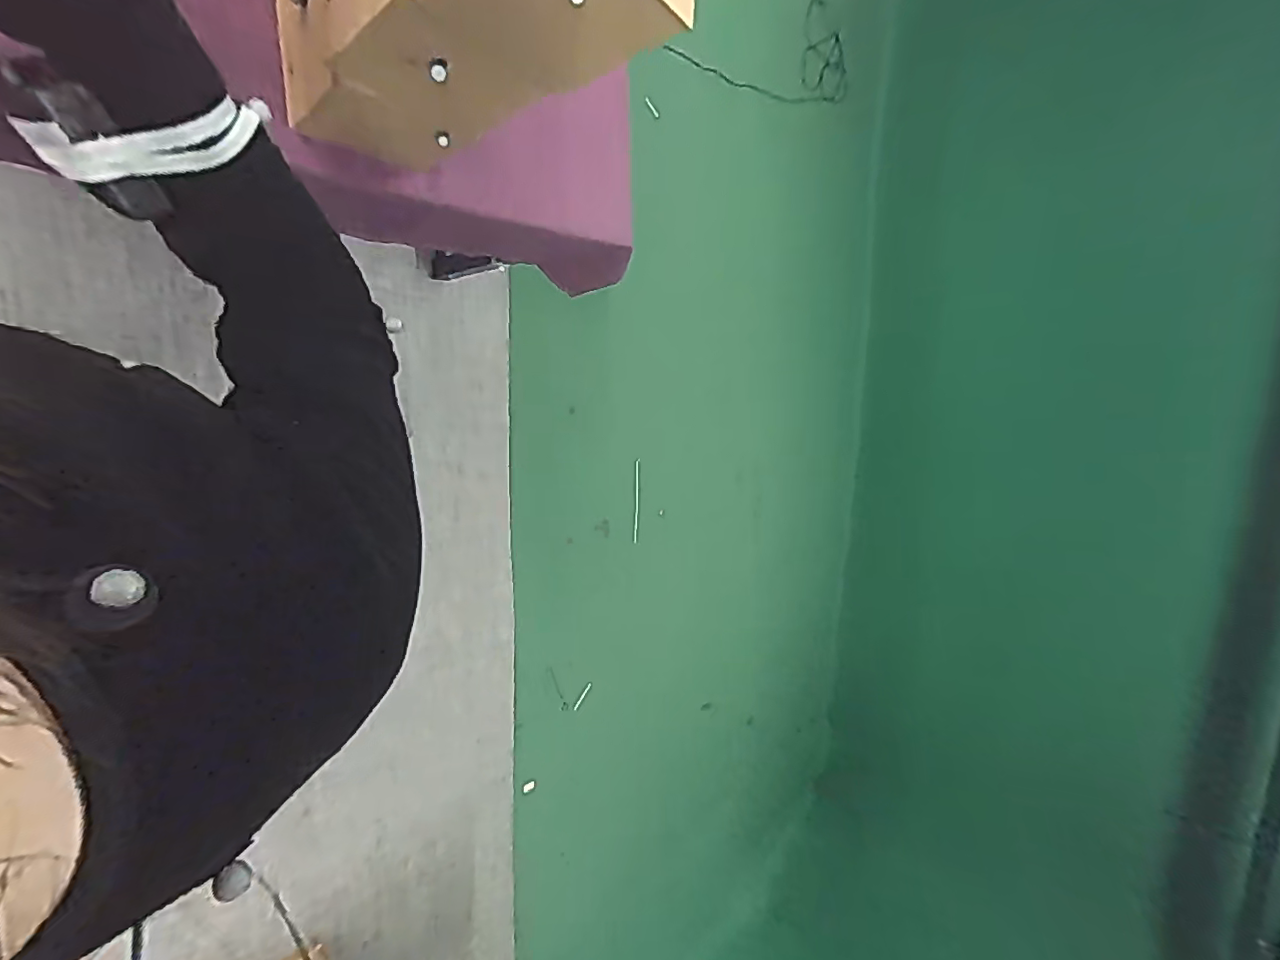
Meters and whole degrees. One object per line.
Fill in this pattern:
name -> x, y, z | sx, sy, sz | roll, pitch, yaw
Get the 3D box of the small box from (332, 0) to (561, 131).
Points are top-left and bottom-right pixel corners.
small box -> -0.196, -0.491, 0.548 | 0.179, 0.176, 0.168 | -6, 101, -48

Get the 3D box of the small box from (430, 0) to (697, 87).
small box -> -0.066, -0.471, 0.448 | 0.179, 0.176, 0.168 | -6, 101, -50

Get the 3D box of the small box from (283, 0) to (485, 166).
small box -> -0.314, -0.511, 0.661 | 0.179, 0.176, 0.168 | -11, 105, -48
